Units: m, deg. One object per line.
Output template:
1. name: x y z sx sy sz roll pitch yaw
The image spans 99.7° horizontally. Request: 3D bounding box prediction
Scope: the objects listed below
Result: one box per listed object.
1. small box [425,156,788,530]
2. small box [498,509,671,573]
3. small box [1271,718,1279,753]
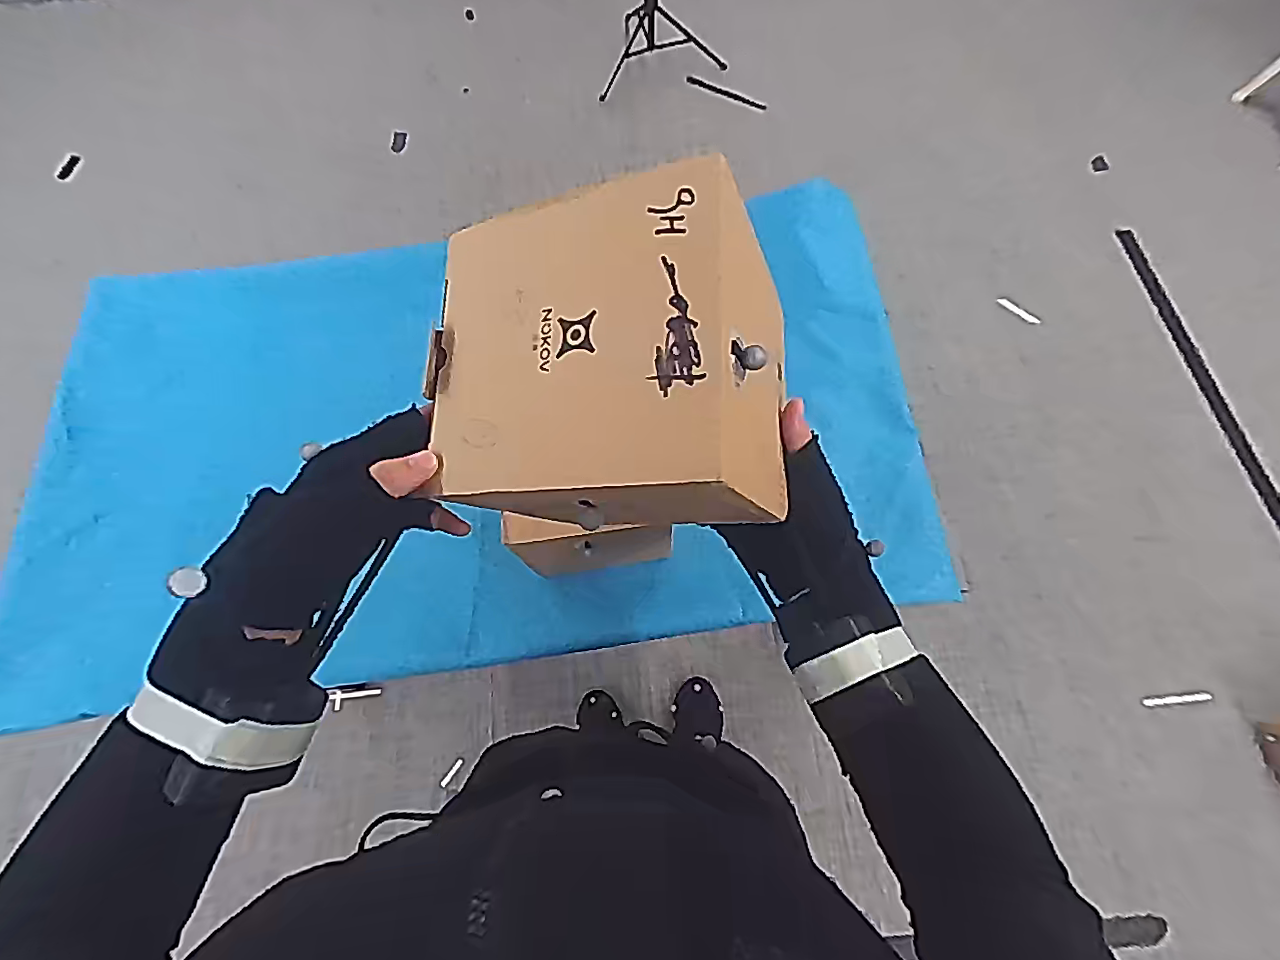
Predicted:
1. small box: -0.009 -0.059 0.356 0.179 0.176 0.168 -6 77 23
2. small box: -0.059 0.009 0.644 0.179 0.176 0.168 -8 70 1
3. small box: 1.475 0.574 1.104 0.179 0.176 0.168 -8 70 0
